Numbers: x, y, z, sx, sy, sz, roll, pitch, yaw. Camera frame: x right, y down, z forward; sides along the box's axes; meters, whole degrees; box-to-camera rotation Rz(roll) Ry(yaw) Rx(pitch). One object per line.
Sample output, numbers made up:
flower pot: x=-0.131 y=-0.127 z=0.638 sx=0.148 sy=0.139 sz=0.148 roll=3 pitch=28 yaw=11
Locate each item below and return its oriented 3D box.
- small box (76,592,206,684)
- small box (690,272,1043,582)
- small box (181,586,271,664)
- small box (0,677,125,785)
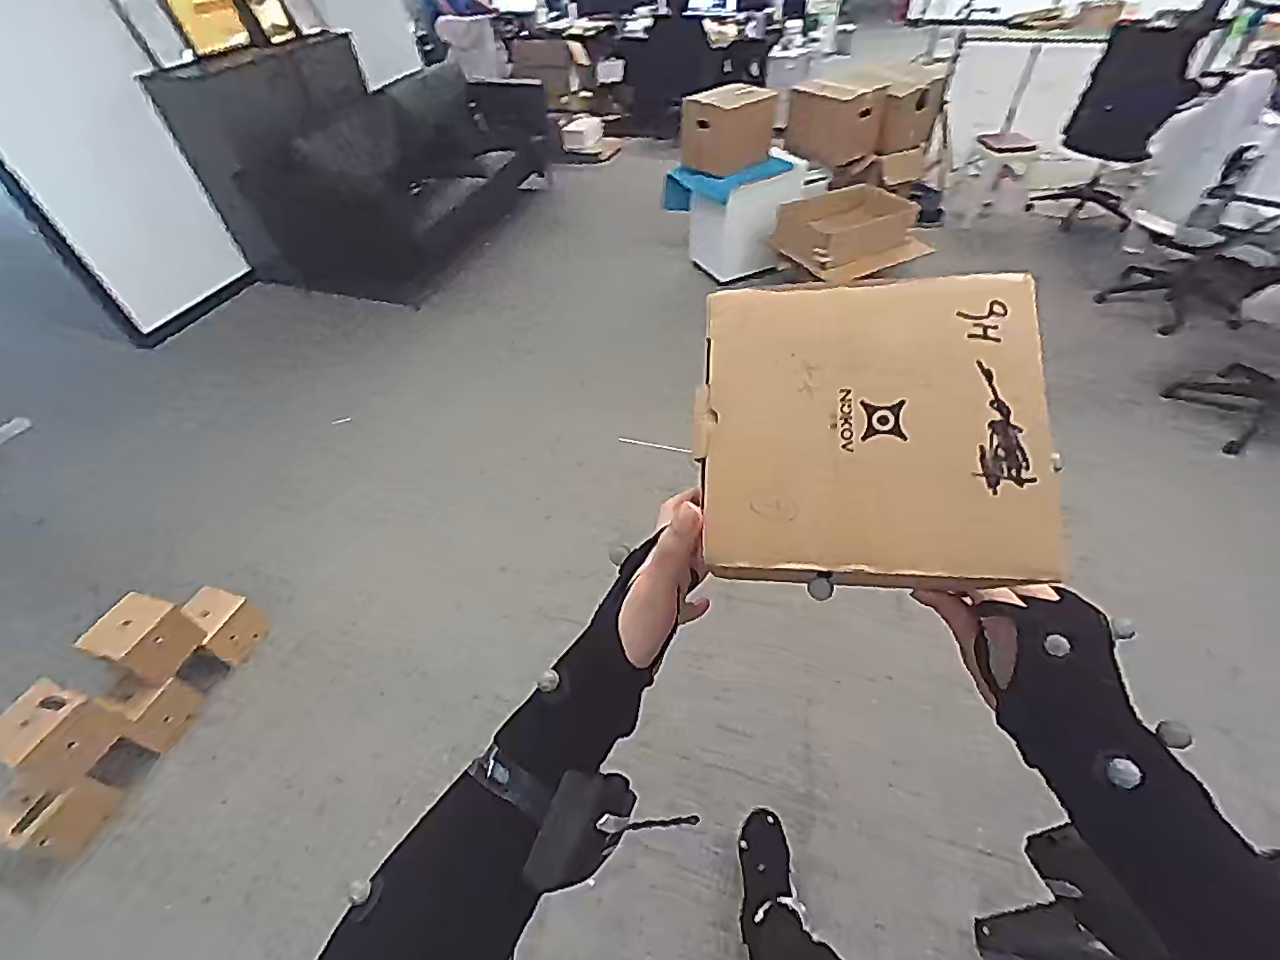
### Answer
small box: x=-1.399 y=0.450 z=1.532 sx=0.168 sy=0.176 sz=0.179 roll=11 pitch=46 yaw=12
small box: x=0.134 y=-0.018 z=0.375 sx=0.179 sy=0.176 sz=0.168 roll=0 pitch=77 yaw=12
small box: x=-1.346 y=0.470 z=1.737 sx=0.179 sy=0.176 sz=0.168 roll=11 pitch=48 yaw=14
small box: x=-1.466 y=0.633 z=1.361 sx=0.168 sy=0.176 sz=0.179 roll=13 pitch=49 yaw=15
